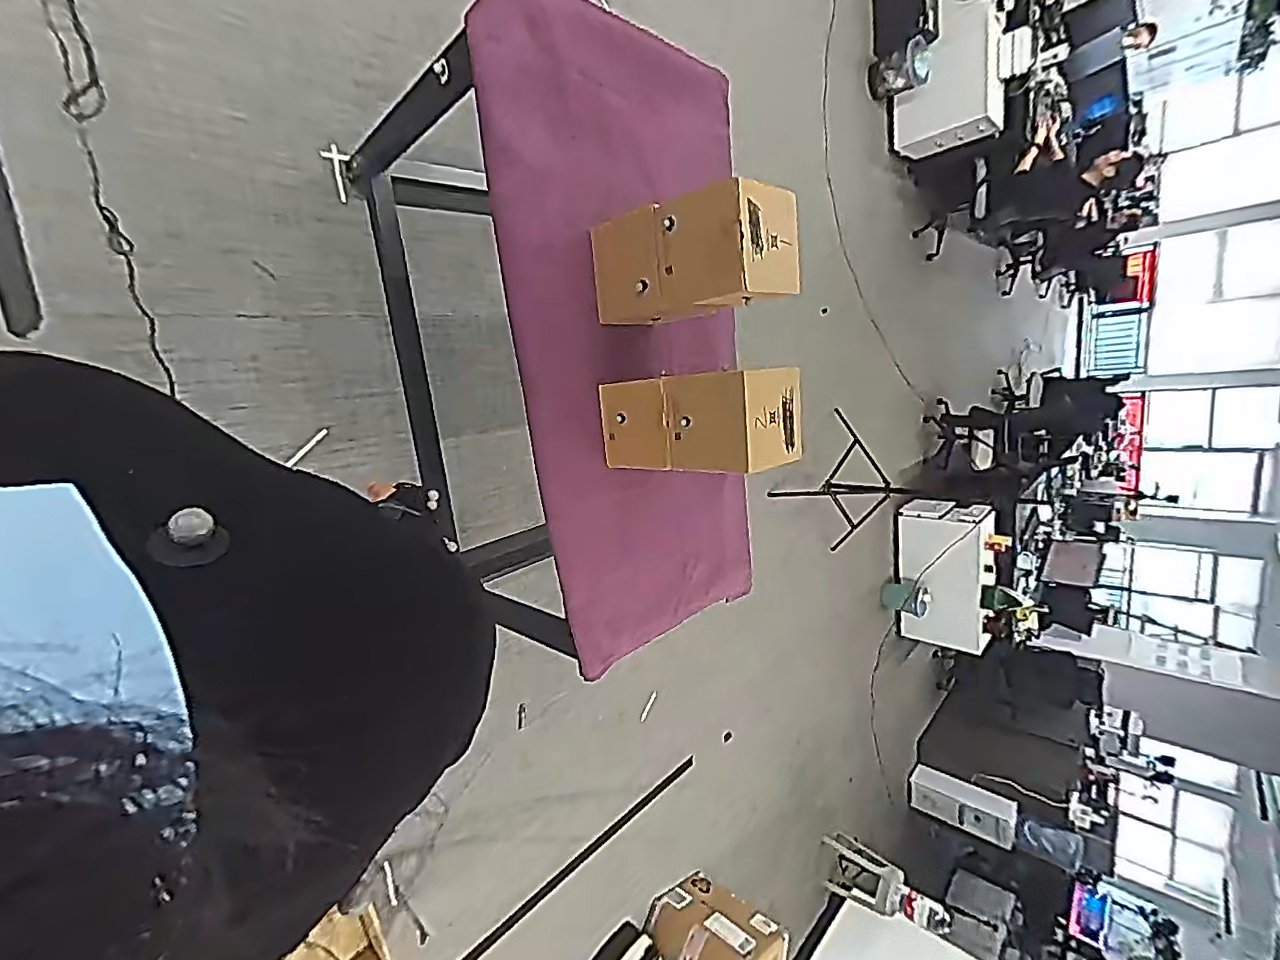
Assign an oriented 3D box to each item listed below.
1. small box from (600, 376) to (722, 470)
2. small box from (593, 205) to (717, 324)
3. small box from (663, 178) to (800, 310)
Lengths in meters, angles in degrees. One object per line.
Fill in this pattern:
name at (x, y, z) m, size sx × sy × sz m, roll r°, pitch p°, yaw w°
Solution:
small box at (0.043, -0.117, 1.071) m, size 0.179 × 0.176 × 0.168 m, roll -15°, pitch 104°, yaw -44°
small box at (0.028, -0.396, 1.029) m, size 0.168 × 0.176 × 0.179 m, roll -15°, pitch 104°, yaw -45°
small box at (0.151, -0.386, 0.920) m, size 0.179 × 0.176 × 0.168 m, roll -17°, pitch 106°, yaw -44°
